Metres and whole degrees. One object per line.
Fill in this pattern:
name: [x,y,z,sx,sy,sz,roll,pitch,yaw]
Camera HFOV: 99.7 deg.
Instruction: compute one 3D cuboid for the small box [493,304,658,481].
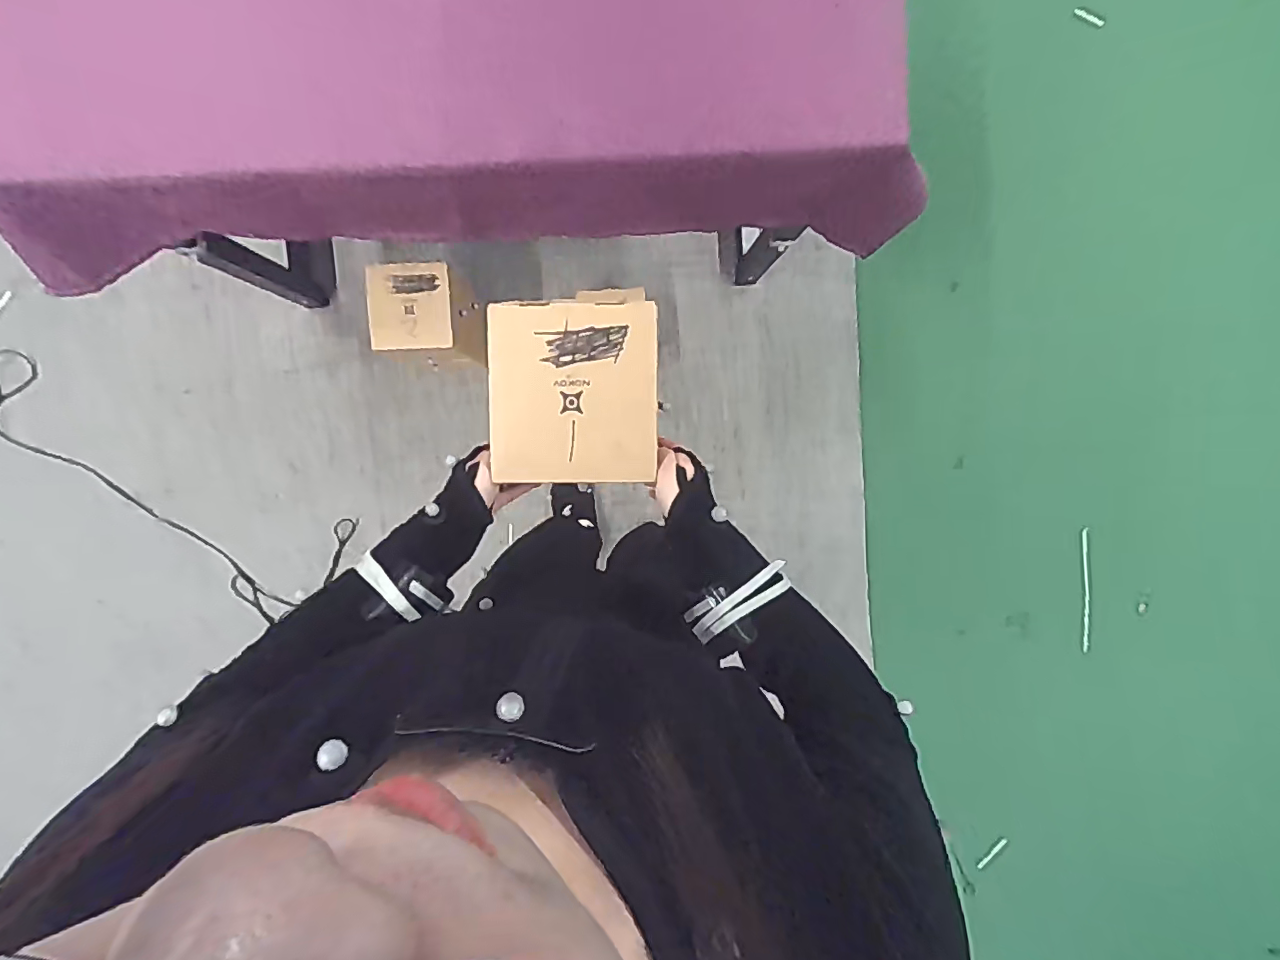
small box: [-0.063,-0.092,0.619,0.168,0.176,0.179,0,95,2]
